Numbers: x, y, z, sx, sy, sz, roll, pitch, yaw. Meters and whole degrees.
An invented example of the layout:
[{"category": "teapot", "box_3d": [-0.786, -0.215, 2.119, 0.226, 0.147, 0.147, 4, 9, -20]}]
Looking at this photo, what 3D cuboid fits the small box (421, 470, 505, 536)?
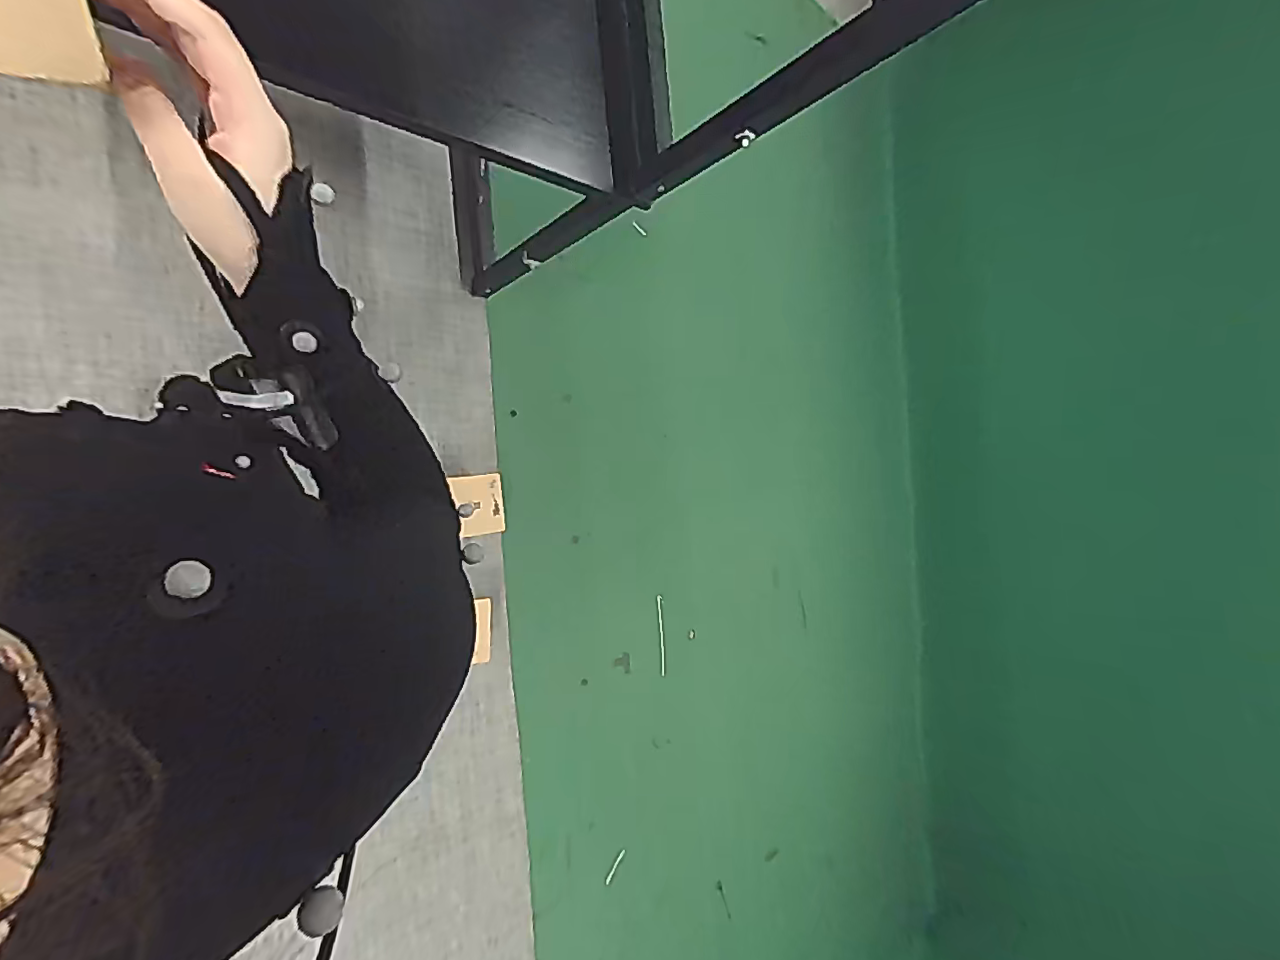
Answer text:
[{"category": "small box", "box_3d": [-0.501, 0.063, 1.514, 0.179, 0.176, 0.168, -7, 92, -42]}]
